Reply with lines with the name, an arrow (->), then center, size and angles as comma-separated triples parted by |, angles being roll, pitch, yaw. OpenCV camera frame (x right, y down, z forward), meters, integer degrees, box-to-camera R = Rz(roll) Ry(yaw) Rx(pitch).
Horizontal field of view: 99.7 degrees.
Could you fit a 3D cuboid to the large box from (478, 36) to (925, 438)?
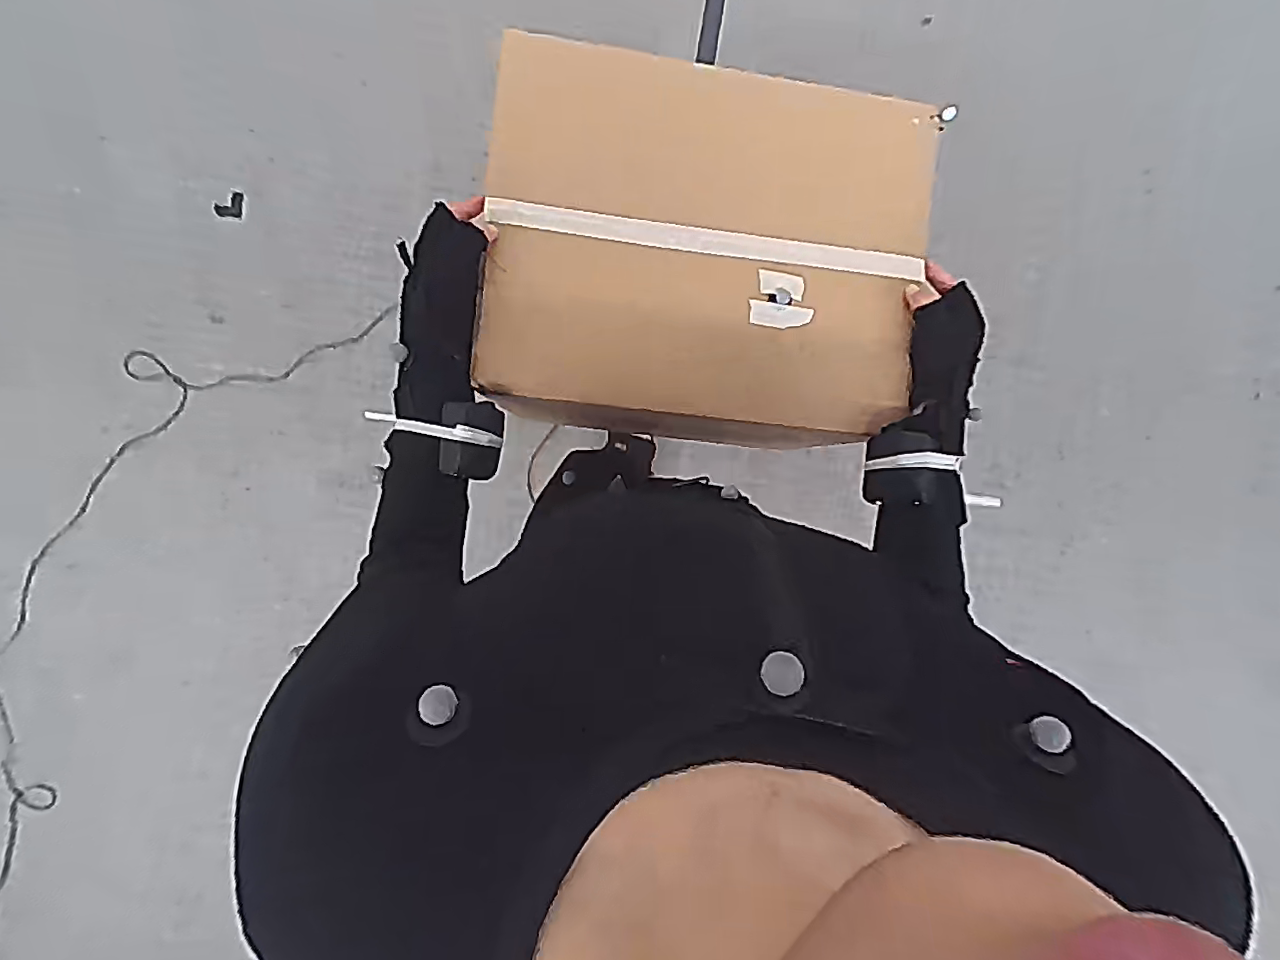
large box -> 0.046, -0.227, 0.645 | 0.408, 0.320, 0.320 | 6, 92, -7
